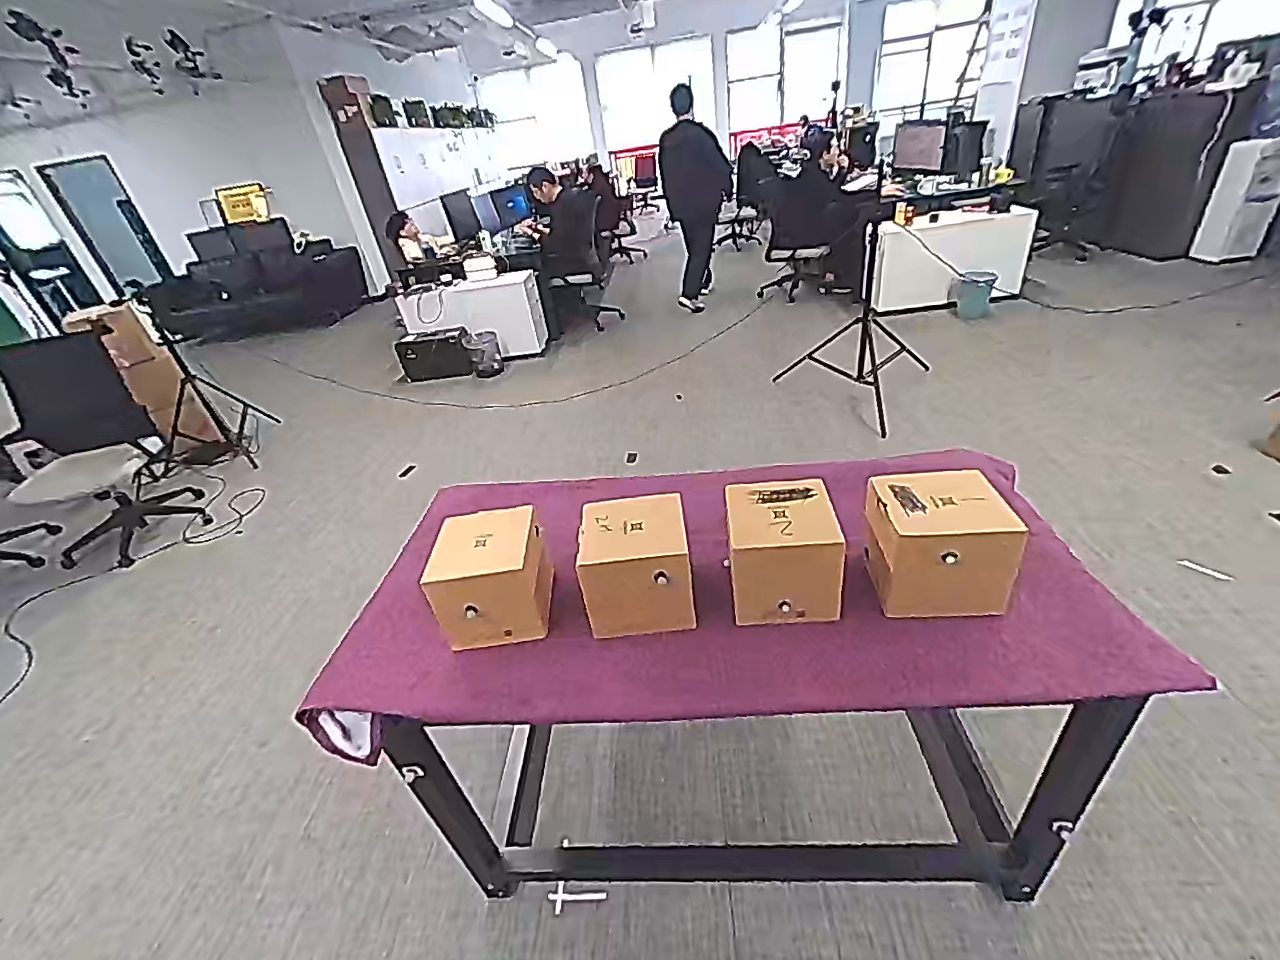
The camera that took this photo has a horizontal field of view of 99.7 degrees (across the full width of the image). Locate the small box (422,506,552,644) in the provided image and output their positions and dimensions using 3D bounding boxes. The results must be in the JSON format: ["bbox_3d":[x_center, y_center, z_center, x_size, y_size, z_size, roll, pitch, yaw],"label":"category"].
[{"bbox_3d":[-0.257,0.172,0.958,0.168,0.176,0.179,-9,32,1],"label":"small box"}]

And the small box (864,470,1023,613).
[{"bbox_3d":[0.472,0.100,0.875,0.179,0.176,0.168,-3,32,9],"label":"small box"}]
